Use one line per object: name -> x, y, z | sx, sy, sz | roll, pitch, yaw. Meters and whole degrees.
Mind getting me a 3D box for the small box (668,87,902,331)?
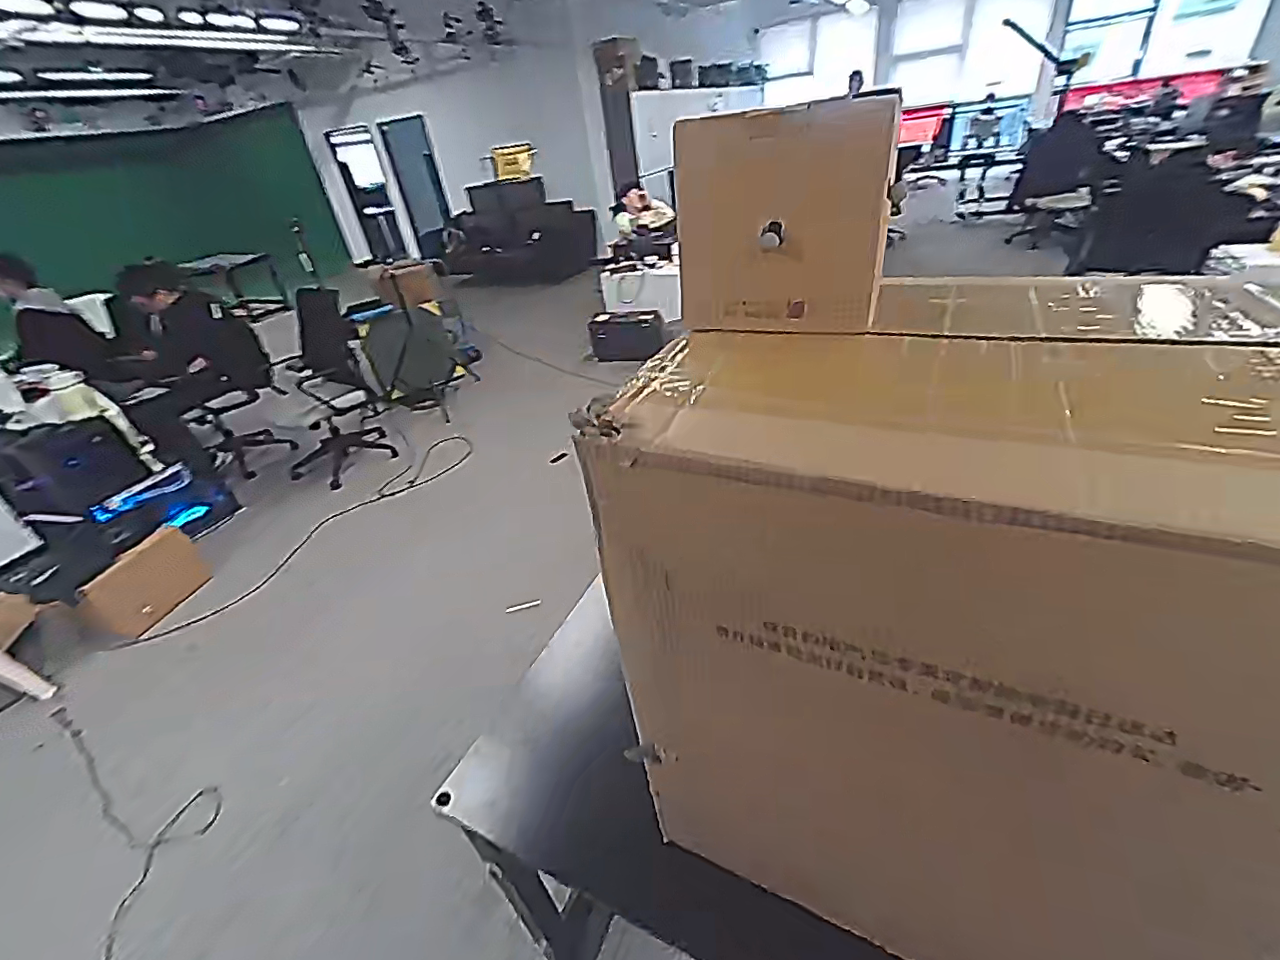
small box -> 0.137, -0.242, 0.494 | 0.168, 0.176, 0.179 | 8, 35, 22
